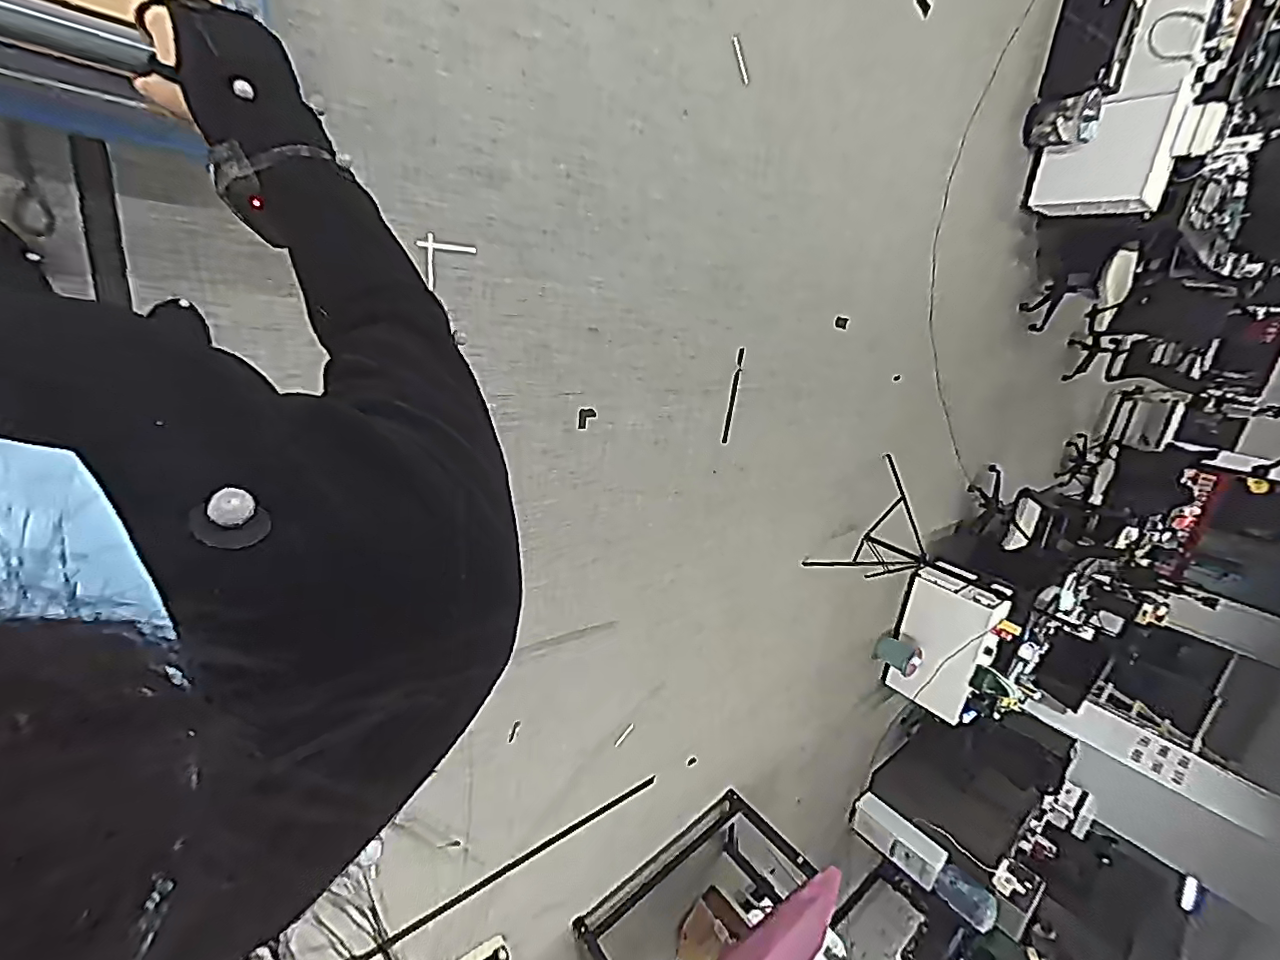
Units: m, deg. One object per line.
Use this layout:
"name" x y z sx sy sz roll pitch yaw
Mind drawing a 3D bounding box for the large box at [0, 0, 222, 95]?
"large box" -0.768 -0.714 0.628 0.408 0.320 0.320 -8 115 -40
